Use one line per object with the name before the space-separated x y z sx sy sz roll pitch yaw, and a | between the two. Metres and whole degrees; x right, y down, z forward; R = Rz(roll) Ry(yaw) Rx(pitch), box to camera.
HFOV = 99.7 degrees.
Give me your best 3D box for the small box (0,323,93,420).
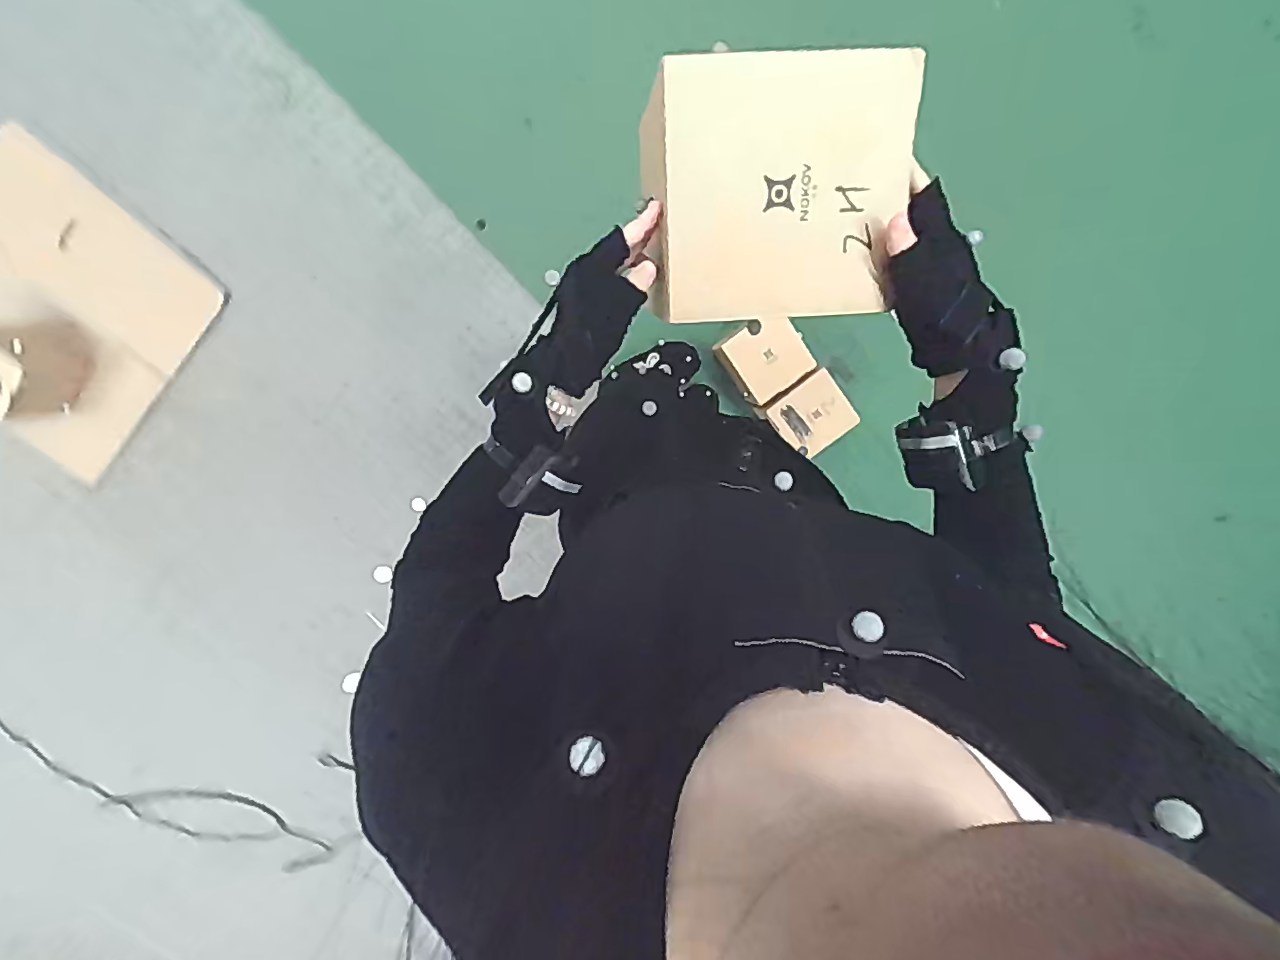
small box | -1.530 -0.273 1.330 0.179 0.176 0.168 38 101 -8
